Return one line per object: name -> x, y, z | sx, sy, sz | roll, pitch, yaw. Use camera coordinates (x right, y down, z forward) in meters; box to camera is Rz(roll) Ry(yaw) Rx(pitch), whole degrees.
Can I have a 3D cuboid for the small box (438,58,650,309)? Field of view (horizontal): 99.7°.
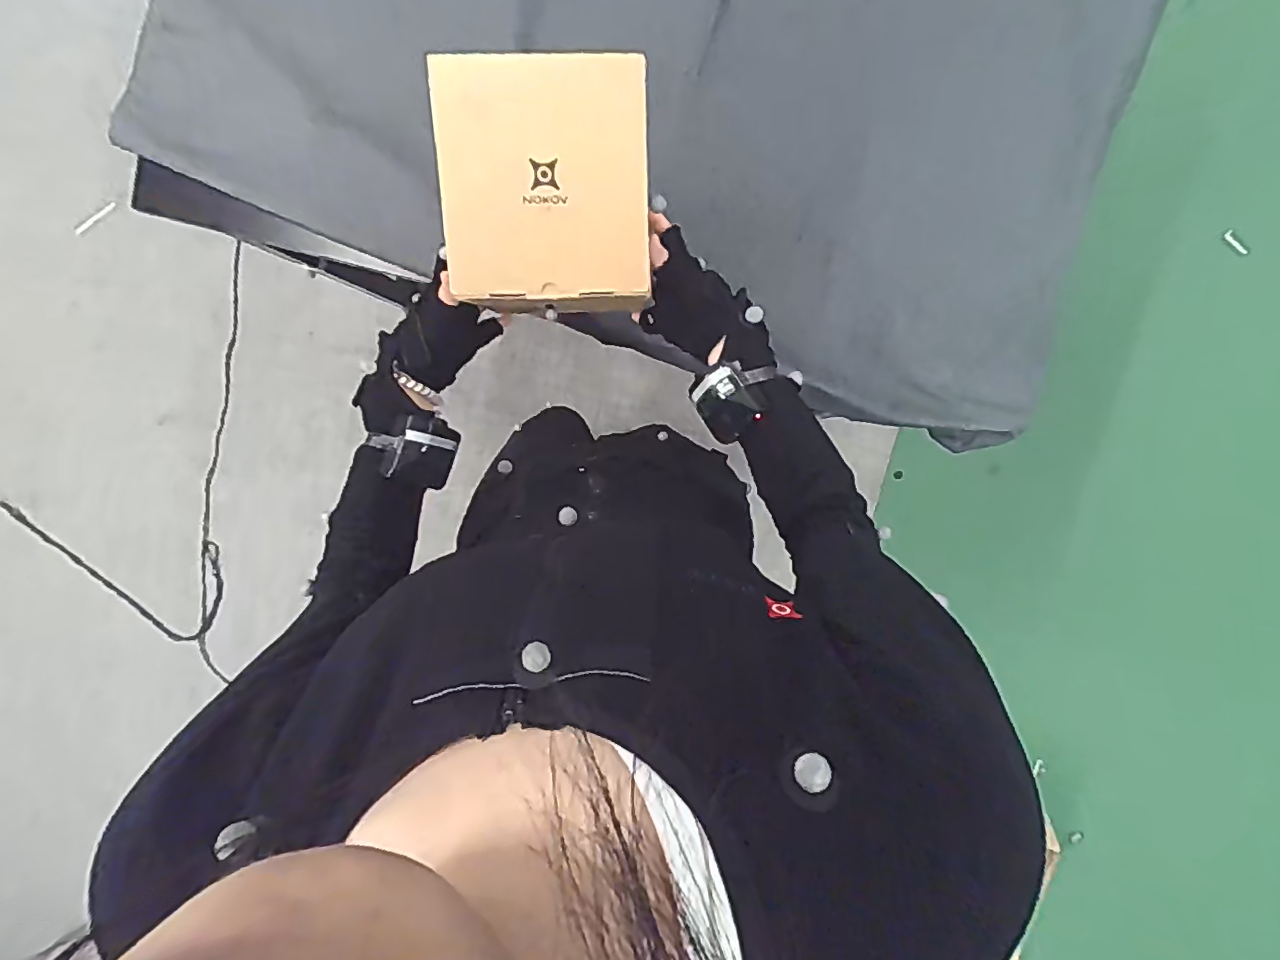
small box -> -0.080, -0.260, 0.516 | 0.168, 0.176, 0.179 | -2, 105, -3
